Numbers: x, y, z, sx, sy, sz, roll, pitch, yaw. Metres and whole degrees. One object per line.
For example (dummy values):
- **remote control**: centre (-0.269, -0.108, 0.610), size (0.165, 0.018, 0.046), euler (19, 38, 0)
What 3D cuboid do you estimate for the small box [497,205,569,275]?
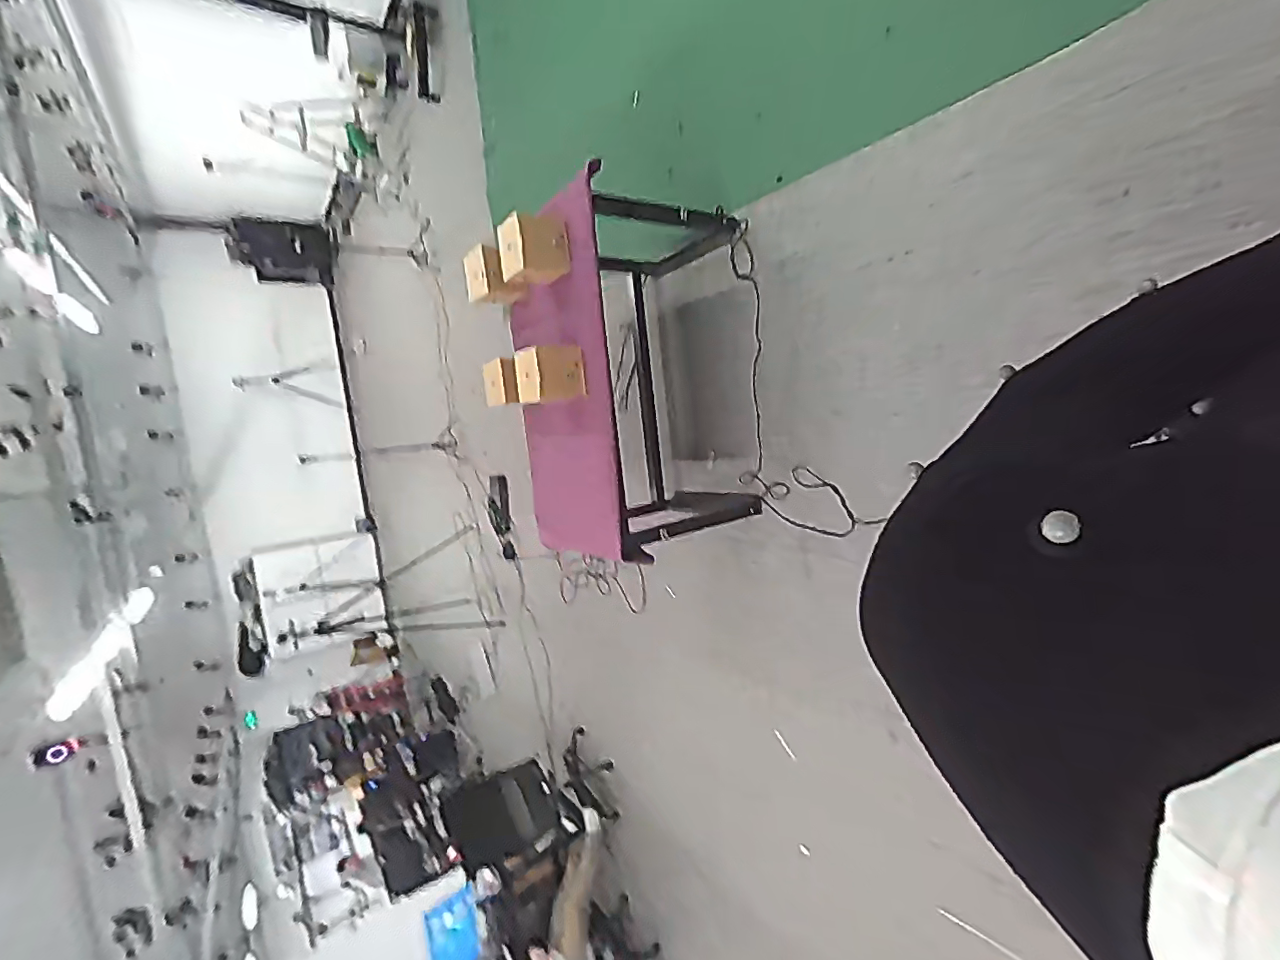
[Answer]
- **small box**: centre (-0.348, -0.771, 1.759), size (0.179, 0.176, 0.168), euler (7, 106, 54)

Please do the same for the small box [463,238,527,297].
- **small box**: centre (-0.539, -0.786, 2.017), size (0.179, 0.176, 0.168), euler (3, 104, 52)

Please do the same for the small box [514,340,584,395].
- **small box**: centre (-0.303, -0.372, 1.808), size (0.179, 0.176, 0.168), euler (6, 103, 54)

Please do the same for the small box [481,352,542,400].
- **small box**: centre (-0.483, -0.393, 2.049), size (0.179, 0.176, 0.168), euler (5, 103, 52)
